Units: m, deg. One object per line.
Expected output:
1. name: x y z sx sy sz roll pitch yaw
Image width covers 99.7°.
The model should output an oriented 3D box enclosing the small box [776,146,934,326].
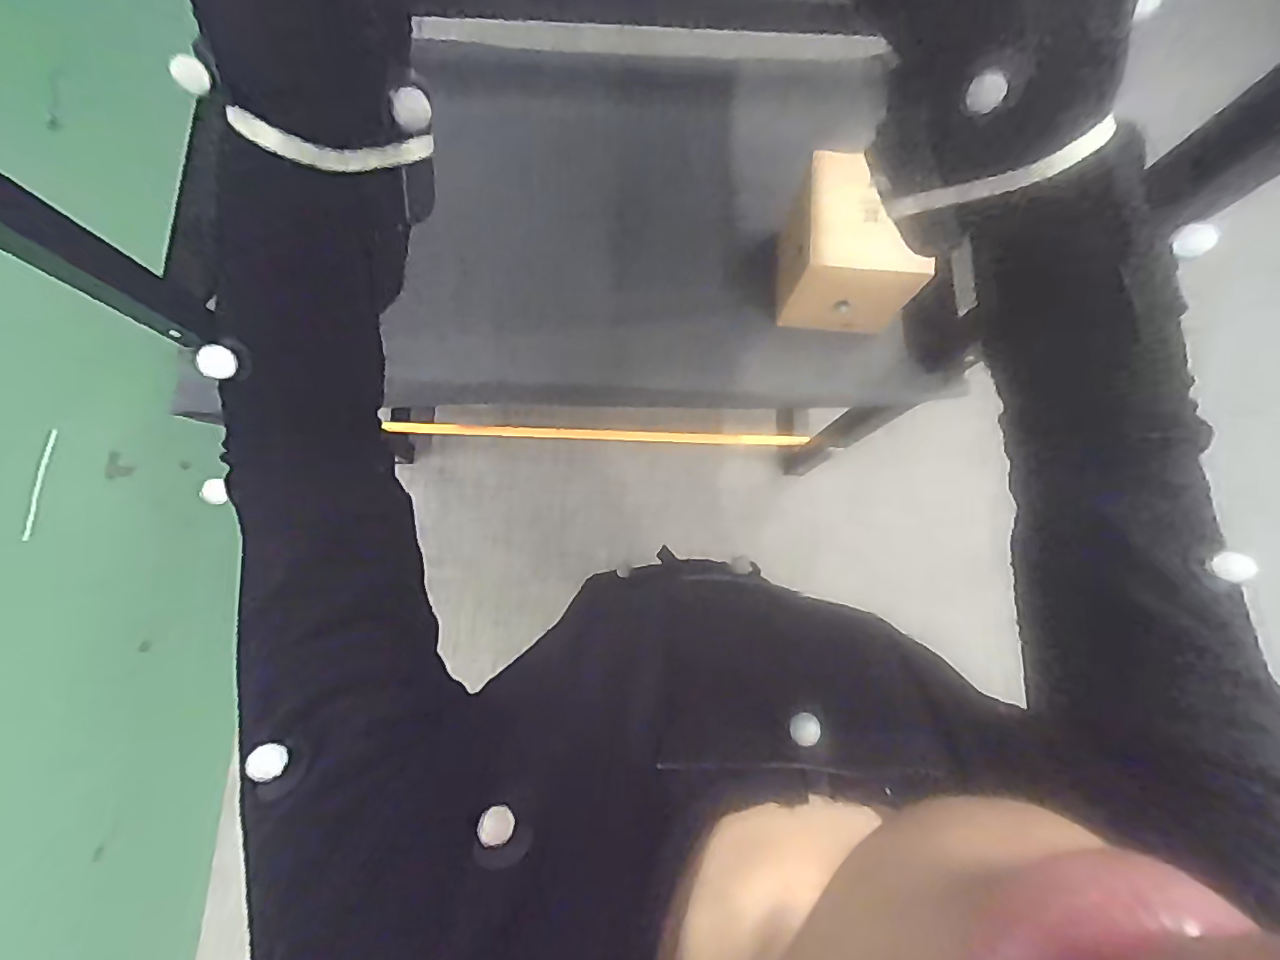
1. small box: 0.303 -0.344 0.791 0.168 0.176 0.179 5 79 -1
